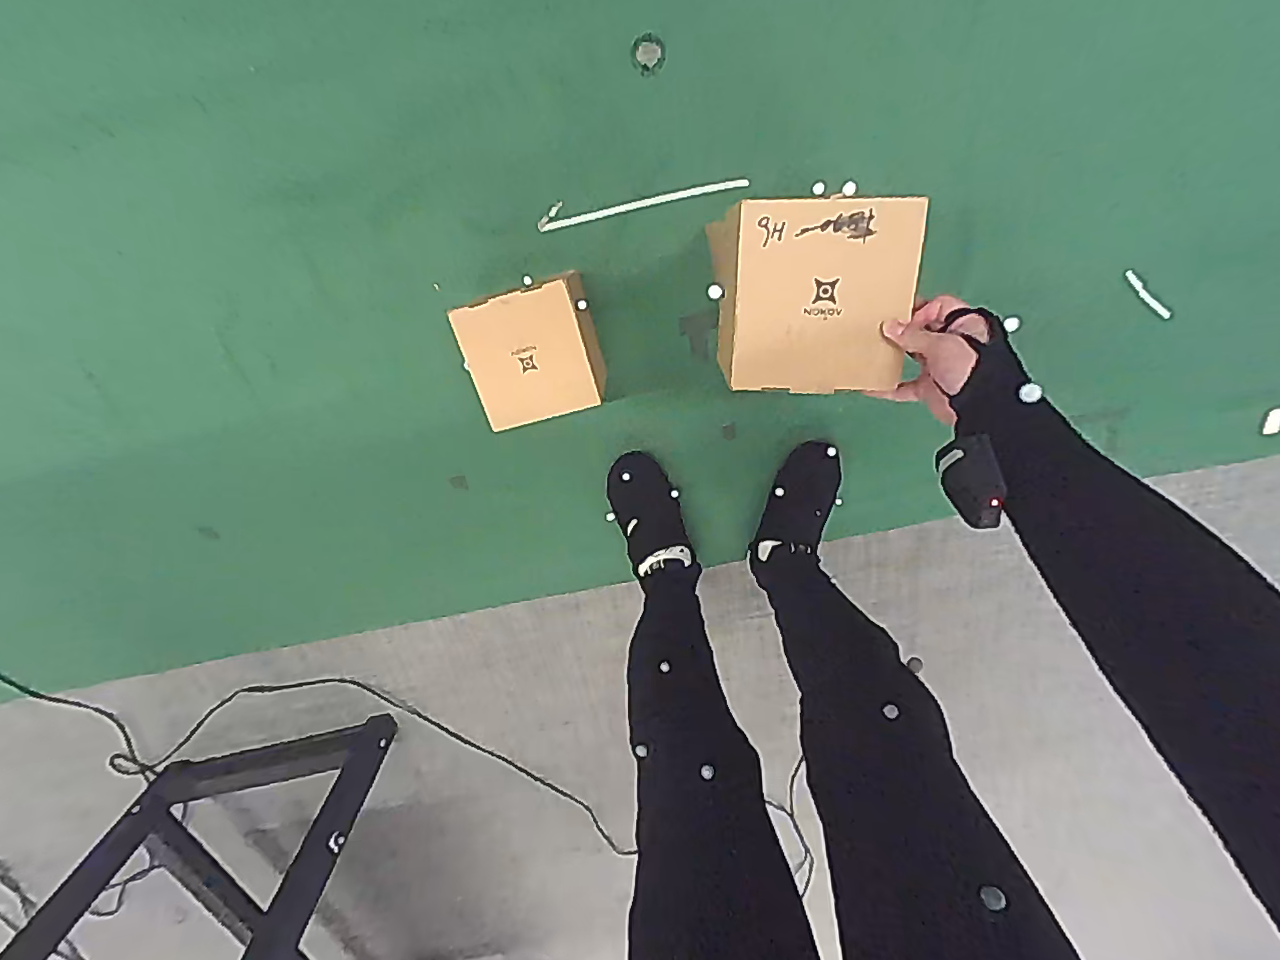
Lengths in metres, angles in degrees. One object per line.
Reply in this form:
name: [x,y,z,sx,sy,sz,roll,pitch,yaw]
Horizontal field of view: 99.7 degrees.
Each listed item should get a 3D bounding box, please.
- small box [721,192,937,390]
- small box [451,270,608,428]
small box: [0.179,-0.203,0.576,0.168,0.176,0.179,1,114,2]
small box: [-0.150,-0.201,0.808,0.168,0.176,0.179,-14,113,6]
